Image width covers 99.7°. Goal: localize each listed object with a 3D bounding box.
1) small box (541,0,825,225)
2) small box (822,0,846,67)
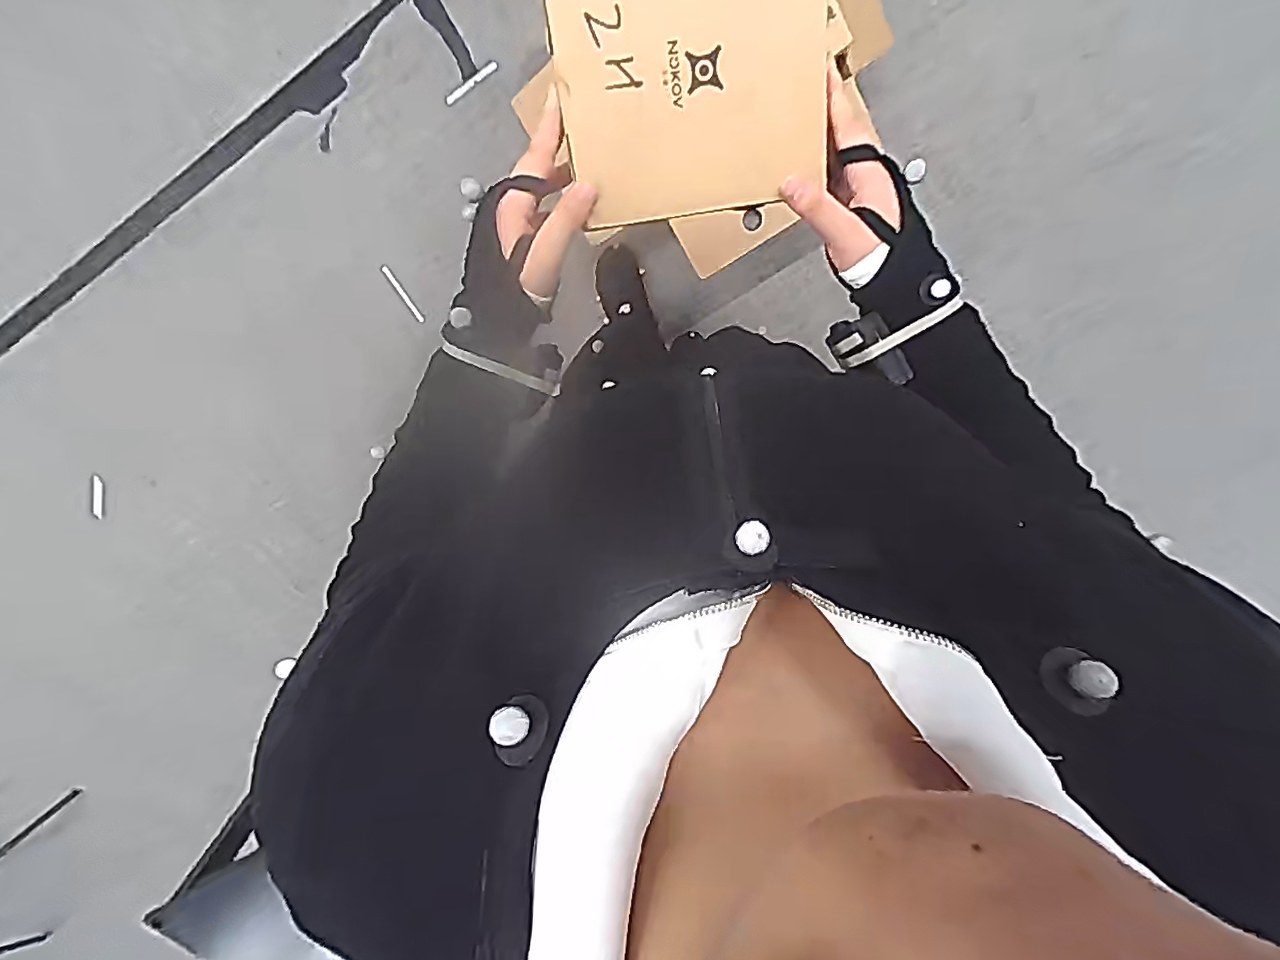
[{"bbox_3d":[0.030,-0.300,0.418,0.179,0.176,0.168,-7,115,3],"label":"small box"},{"bbox_3d":[0.228,-0.772,0.967,0.179,0.176,0.168,-34,107,7],"label":"small box"}]
